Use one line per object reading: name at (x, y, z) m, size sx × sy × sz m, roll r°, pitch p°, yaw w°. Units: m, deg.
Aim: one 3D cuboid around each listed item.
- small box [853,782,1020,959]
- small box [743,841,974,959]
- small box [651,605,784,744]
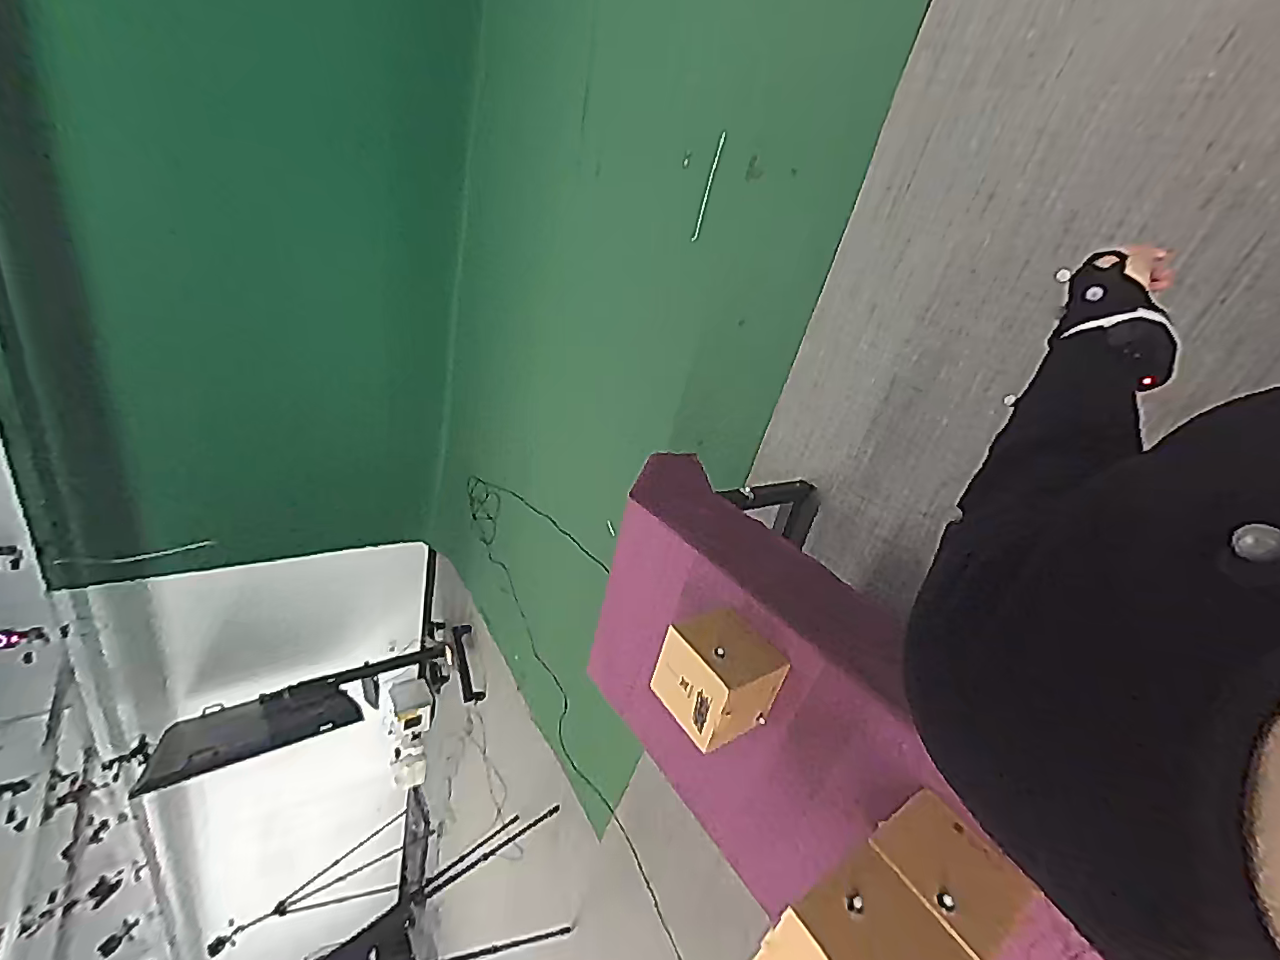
small box at (0.398, 0.583, 0.775) m, size 0.168 × 0.176 × 0.179 m, roll 41°, pitch 126°, yaw 41°
small box at (0.268, 0.597, 0.676) m, size 0.179 × 0.176 × 0.168 m, roll 42°, pitch 127°, yaw 41°
small box at (0.153, 0.372, 1.067) m, size 0.179 × 0.176 × 0.168 m, roll 41°, pitch 125°, yaw 43°
